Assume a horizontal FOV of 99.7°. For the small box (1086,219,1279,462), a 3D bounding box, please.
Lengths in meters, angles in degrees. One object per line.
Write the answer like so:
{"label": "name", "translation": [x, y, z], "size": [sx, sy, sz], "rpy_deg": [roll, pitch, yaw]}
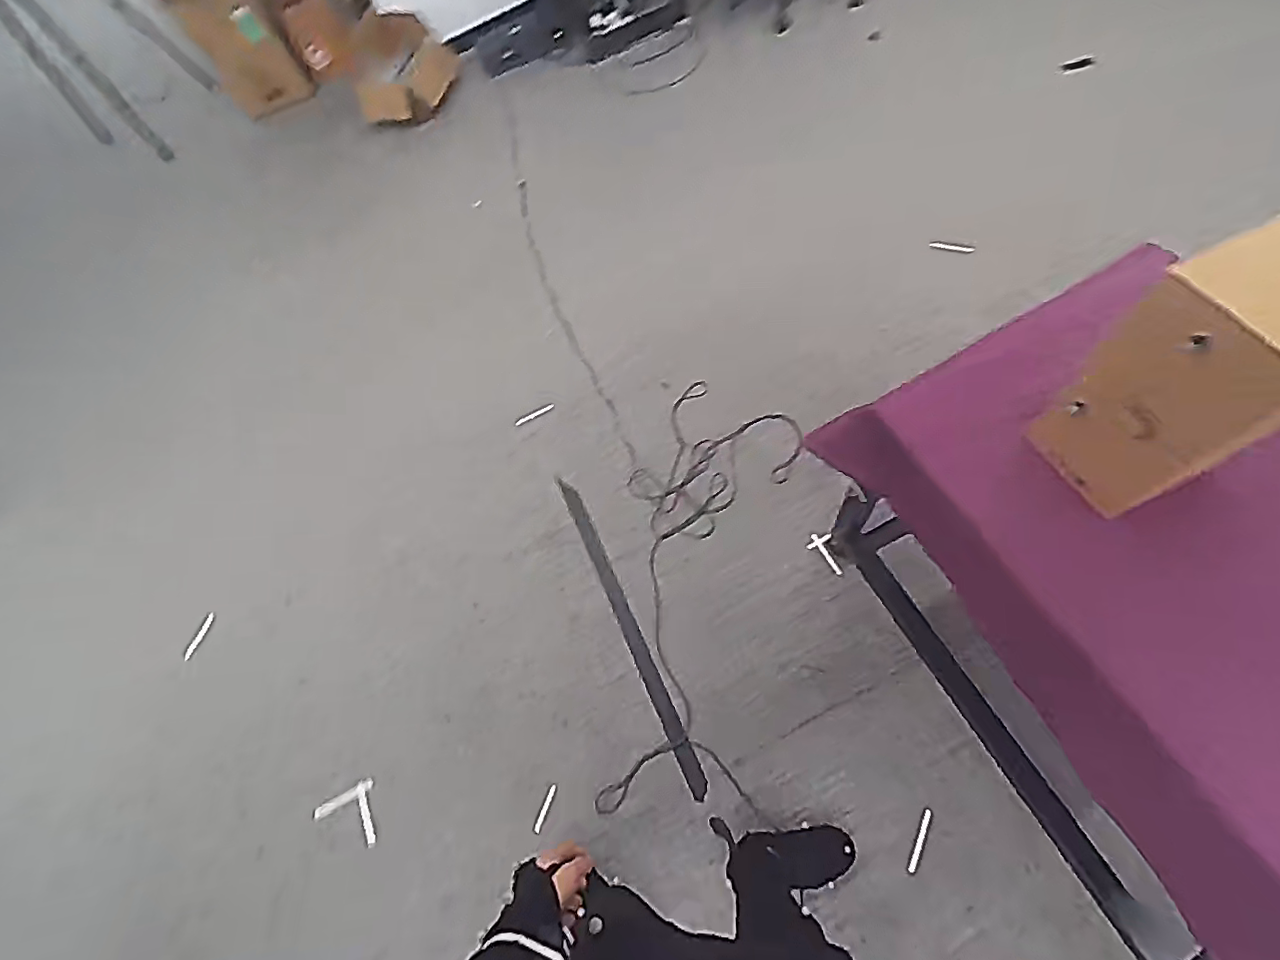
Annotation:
{"label": "small box", "translation": [0.674, -0.151, 0.611], "size": [0.168, 0.176, 0.179], "rpy_deg": [-25, 63, -2]}
